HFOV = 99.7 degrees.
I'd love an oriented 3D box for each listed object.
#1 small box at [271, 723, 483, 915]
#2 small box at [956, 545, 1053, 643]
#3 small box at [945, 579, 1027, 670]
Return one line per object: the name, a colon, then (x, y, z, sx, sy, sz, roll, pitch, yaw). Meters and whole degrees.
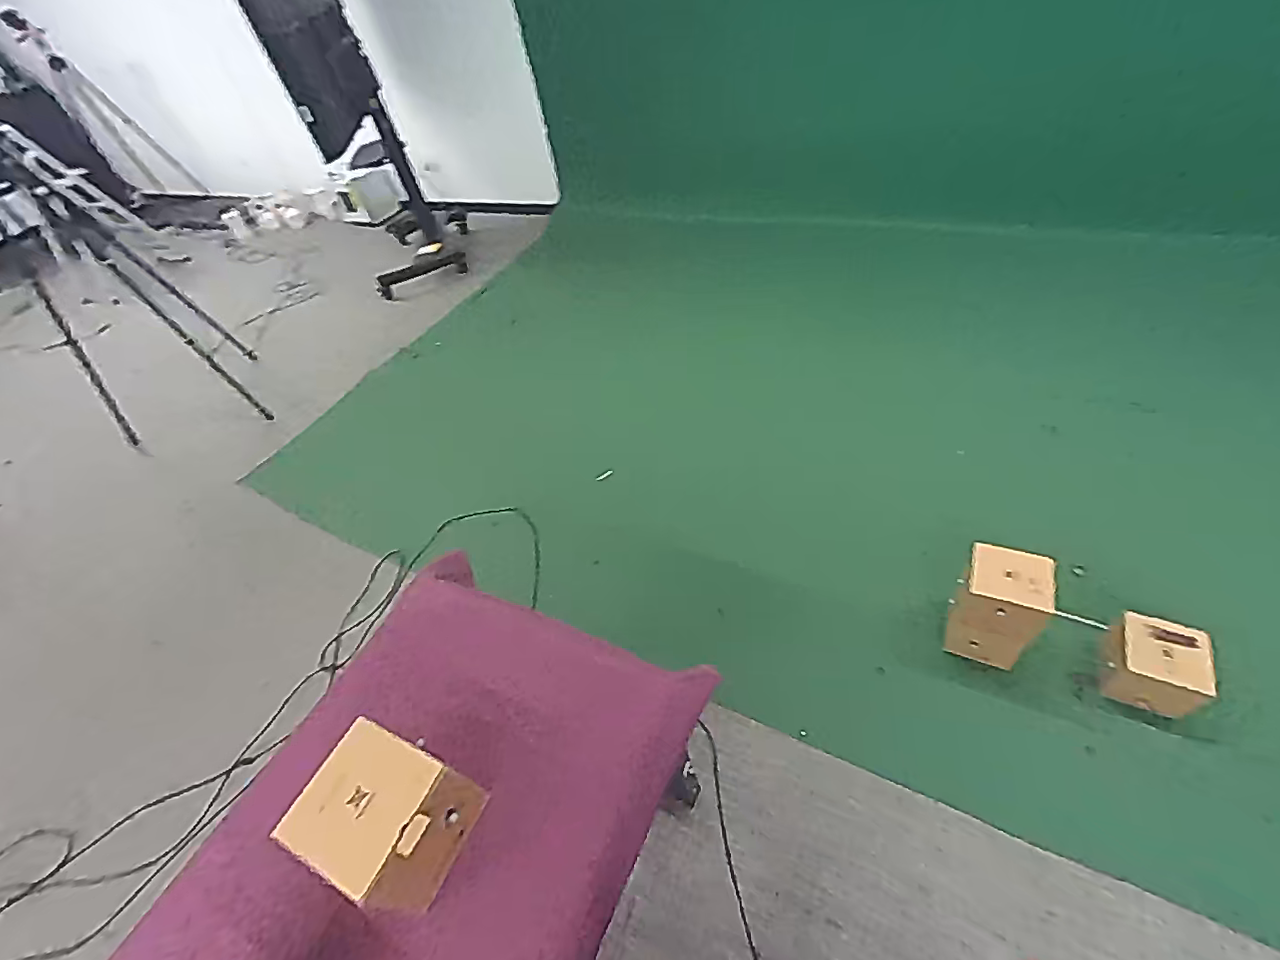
small box: (-0.357, 0.483, 0.771, 0.179, 0.176, 0.168, 14, 52, 24)
small box: (0.945, 0.300, 1.412, 0.179, 0.176, 0.168, 13, 52, 24)
small box: (0.978, 0.408, 1.531, 0.168, 0.176, 0.179, 13, 51, 25)
